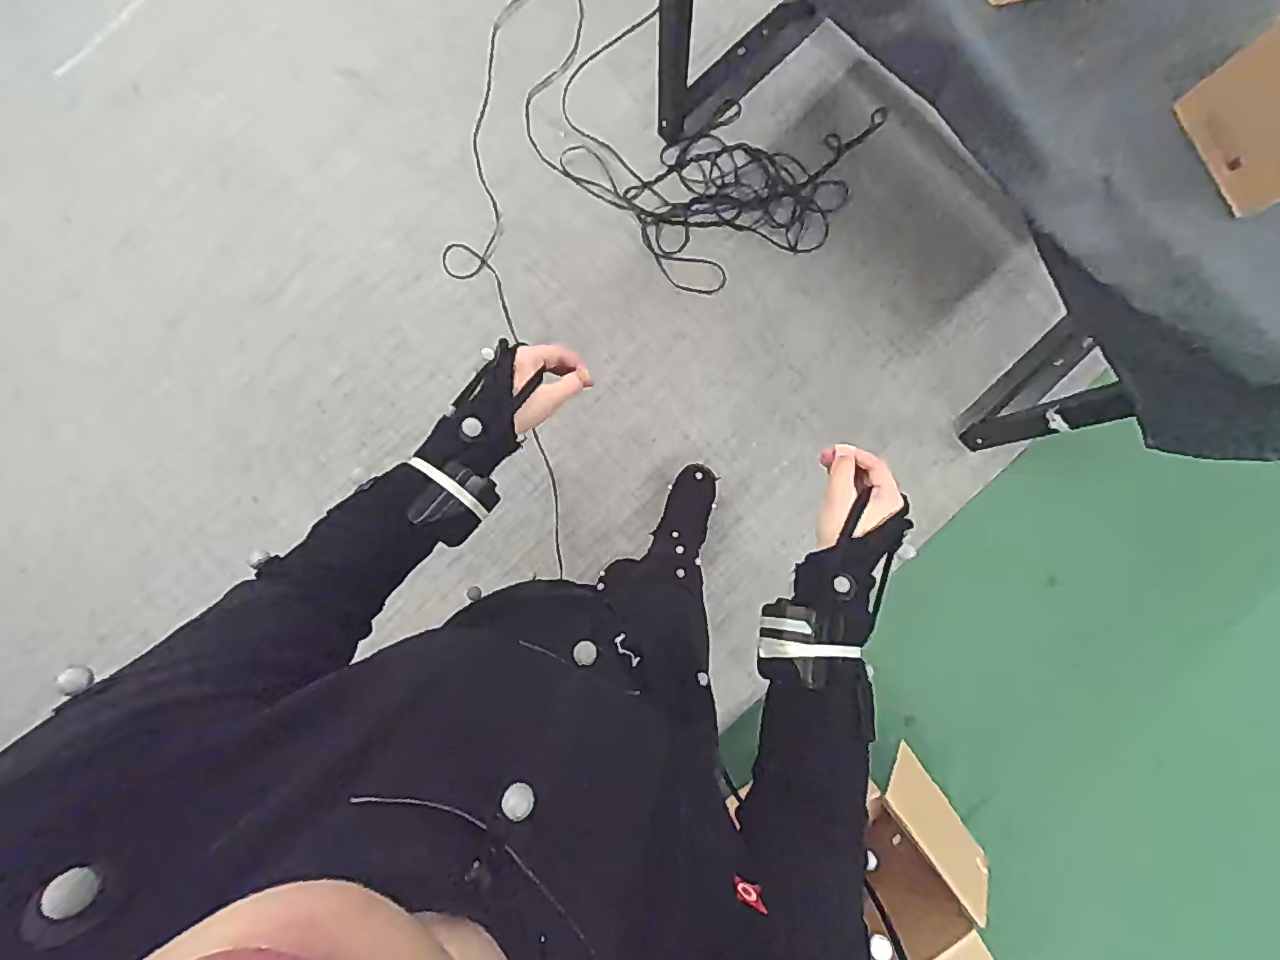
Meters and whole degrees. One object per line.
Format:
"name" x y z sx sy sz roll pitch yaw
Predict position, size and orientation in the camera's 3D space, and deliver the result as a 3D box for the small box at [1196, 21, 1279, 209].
"small box" 0.766 -0.430 0.577 0.179 0.176 0.168 -24 86 -2
